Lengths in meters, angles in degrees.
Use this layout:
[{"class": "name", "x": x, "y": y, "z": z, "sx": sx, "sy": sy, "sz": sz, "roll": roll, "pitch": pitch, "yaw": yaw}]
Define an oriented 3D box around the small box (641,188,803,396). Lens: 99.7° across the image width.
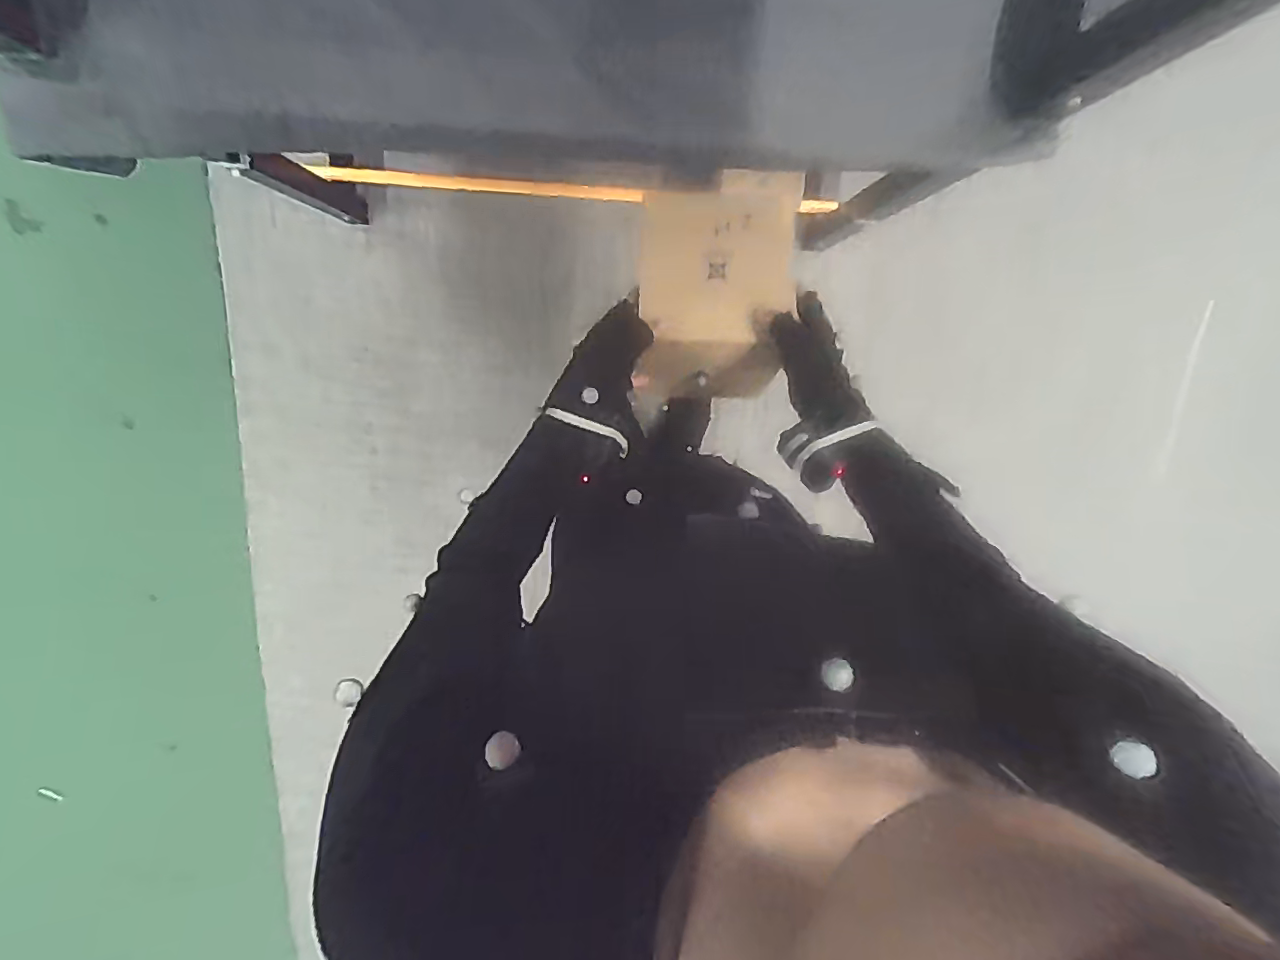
[{"class": "small box", "x": 0.087, "y": -0.208, "z": 0.640, "sx": 0.168, "sy": 0.176, "sz": 0.179, "roll": 2, "pitch": 78, "yaw": -1}]
